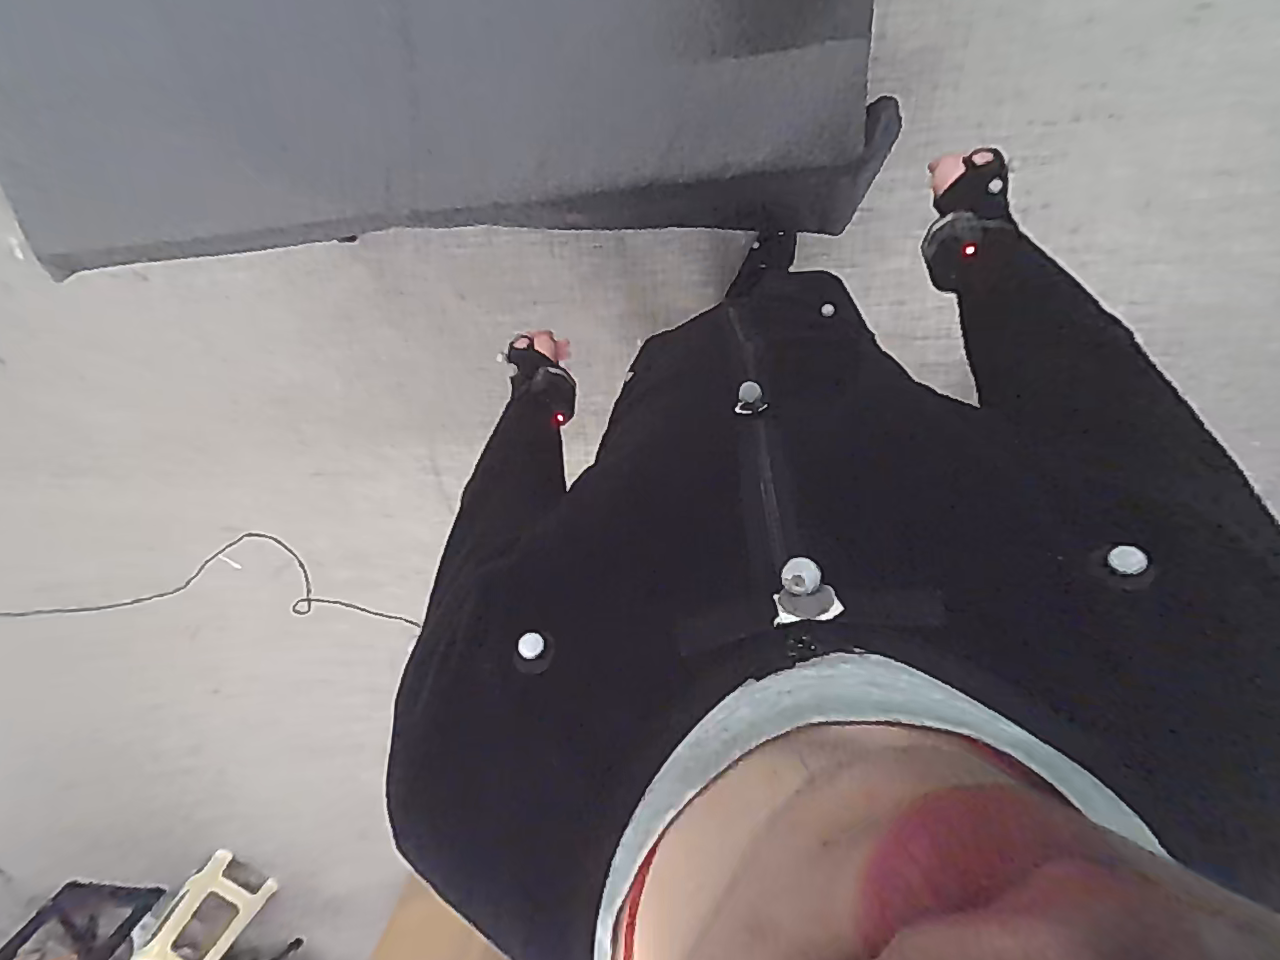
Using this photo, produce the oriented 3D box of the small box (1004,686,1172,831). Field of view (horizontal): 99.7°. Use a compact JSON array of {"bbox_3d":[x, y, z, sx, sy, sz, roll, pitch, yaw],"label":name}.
[{"bbox_3d":[0.829,0.522,1.025,0.168,0.176,0.179,-1,111,6],"label":"small box"}]
